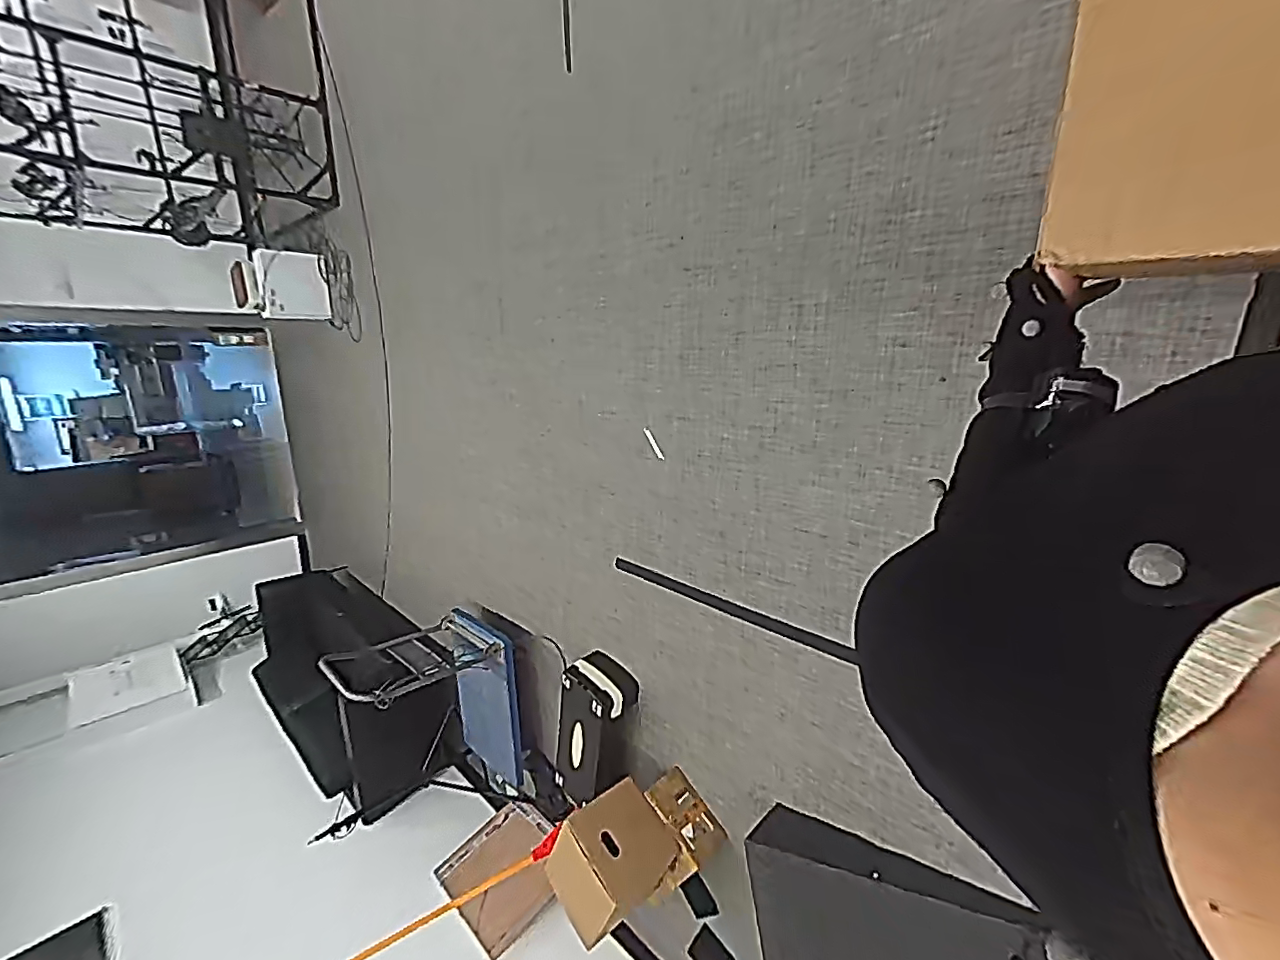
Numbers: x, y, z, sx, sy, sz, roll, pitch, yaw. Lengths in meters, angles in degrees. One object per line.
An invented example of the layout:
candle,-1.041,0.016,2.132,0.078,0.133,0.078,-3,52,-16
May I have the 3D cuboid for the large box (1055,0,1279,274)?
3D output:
large box,0.449,-0.268,0.215,0.408,0.320,0.320,12,113,39
